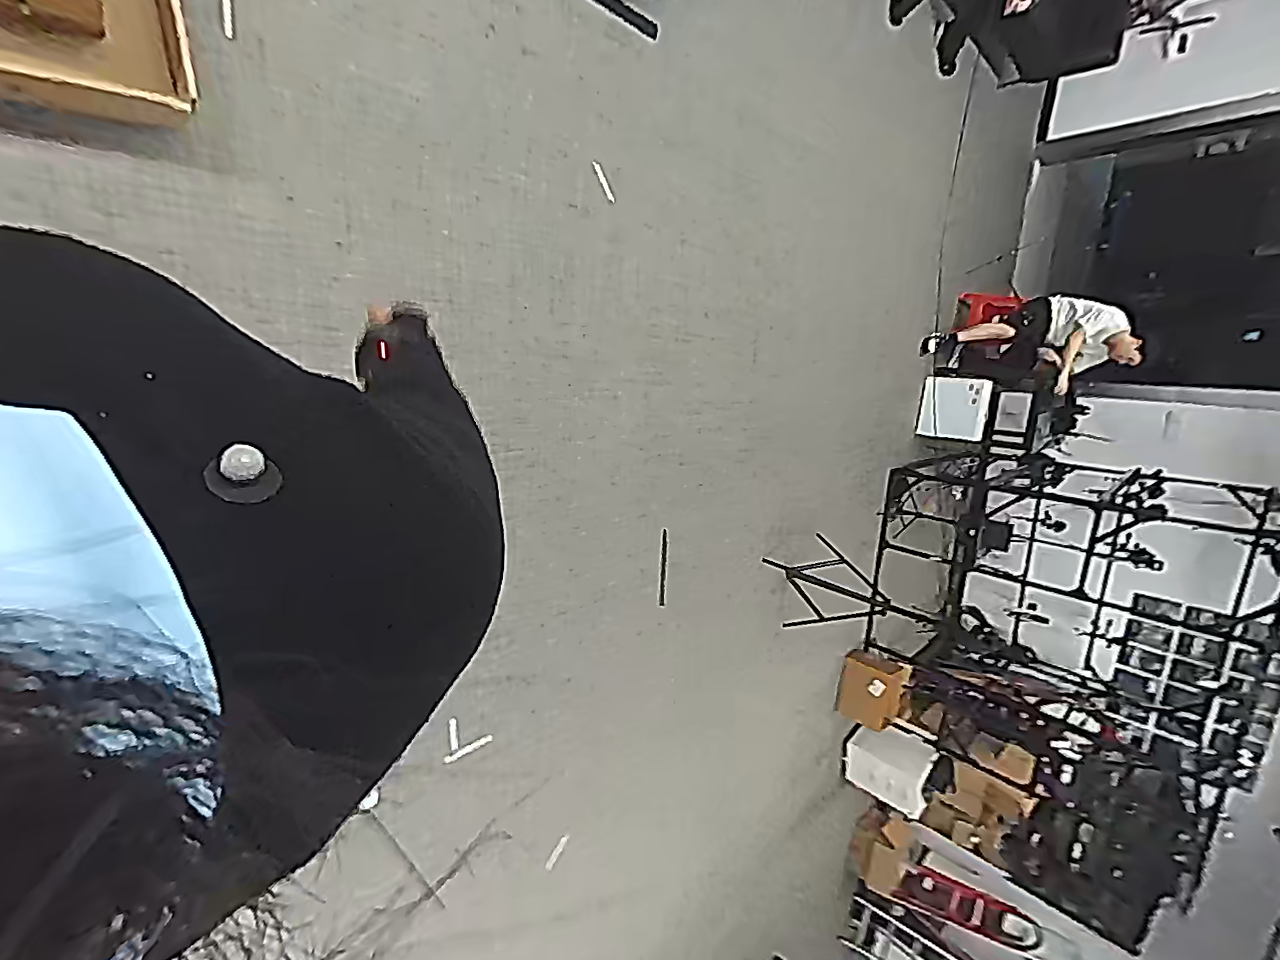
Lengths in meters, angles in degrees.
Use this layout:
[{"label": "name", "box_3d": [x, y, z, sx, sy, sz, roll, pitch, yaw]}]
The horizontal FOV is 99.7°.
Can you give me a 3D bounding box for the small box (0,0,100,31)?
[{"label": "small box", "box_3d": [-0.957, -0.841, 0.822, 0.168, 0.176, 0.179, -14, 110, -41]}]
